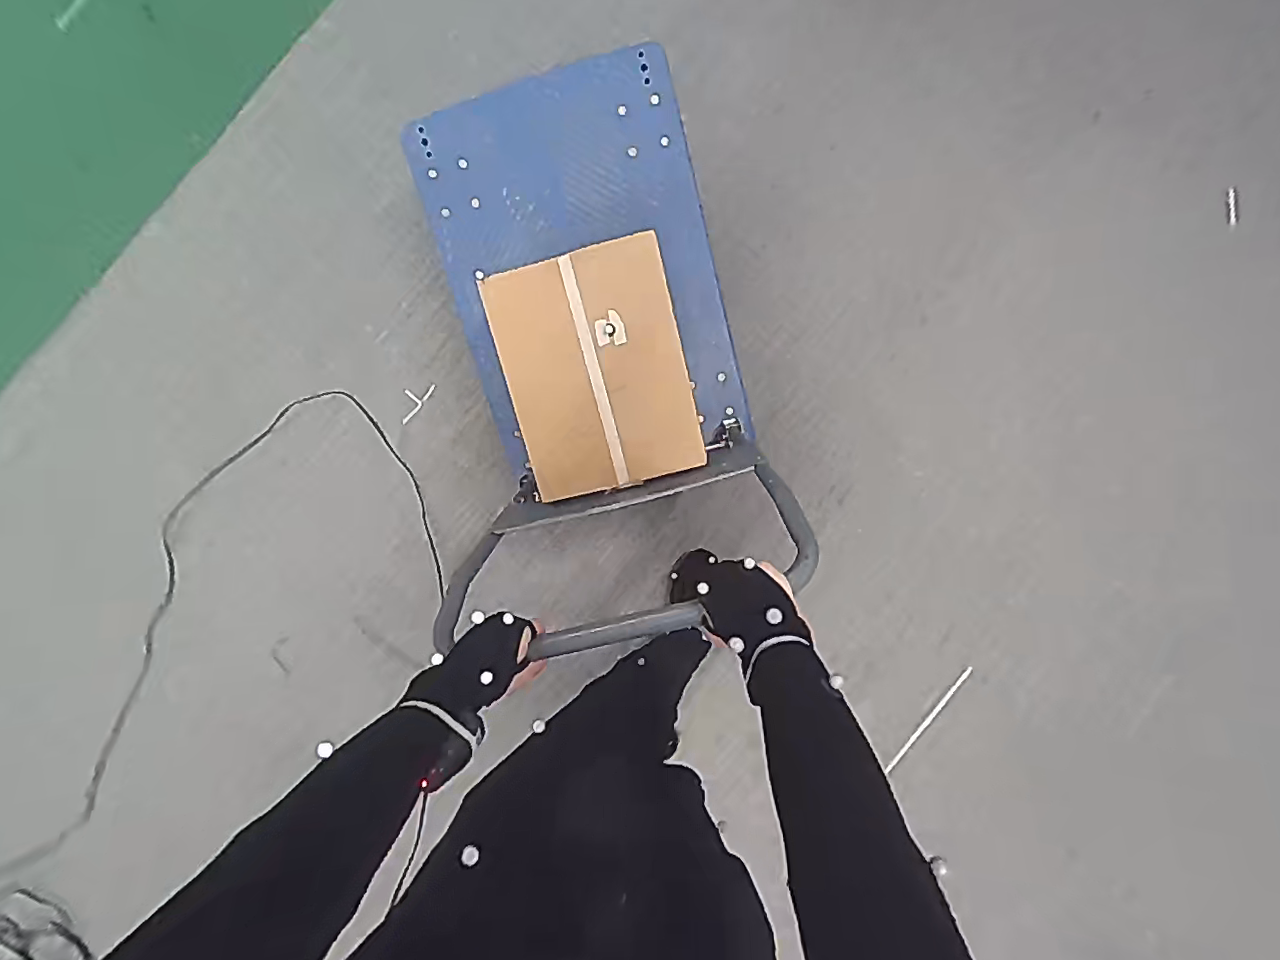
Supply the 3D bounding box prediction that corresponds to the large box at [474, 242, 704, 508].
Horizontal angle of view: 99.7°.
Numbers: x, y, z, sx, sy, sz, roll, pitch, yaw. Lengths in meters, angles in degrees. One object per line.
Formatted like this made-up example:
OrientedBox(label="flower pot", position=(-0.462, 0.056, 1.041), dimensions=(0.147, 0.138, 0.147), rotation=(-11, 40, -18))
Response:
OrientedBox(label="large box", position=(-0.075, -0.201, 1.089), dimensions=(0.320, 0.320, 0.408), rotation=(-14, 101, 6))
